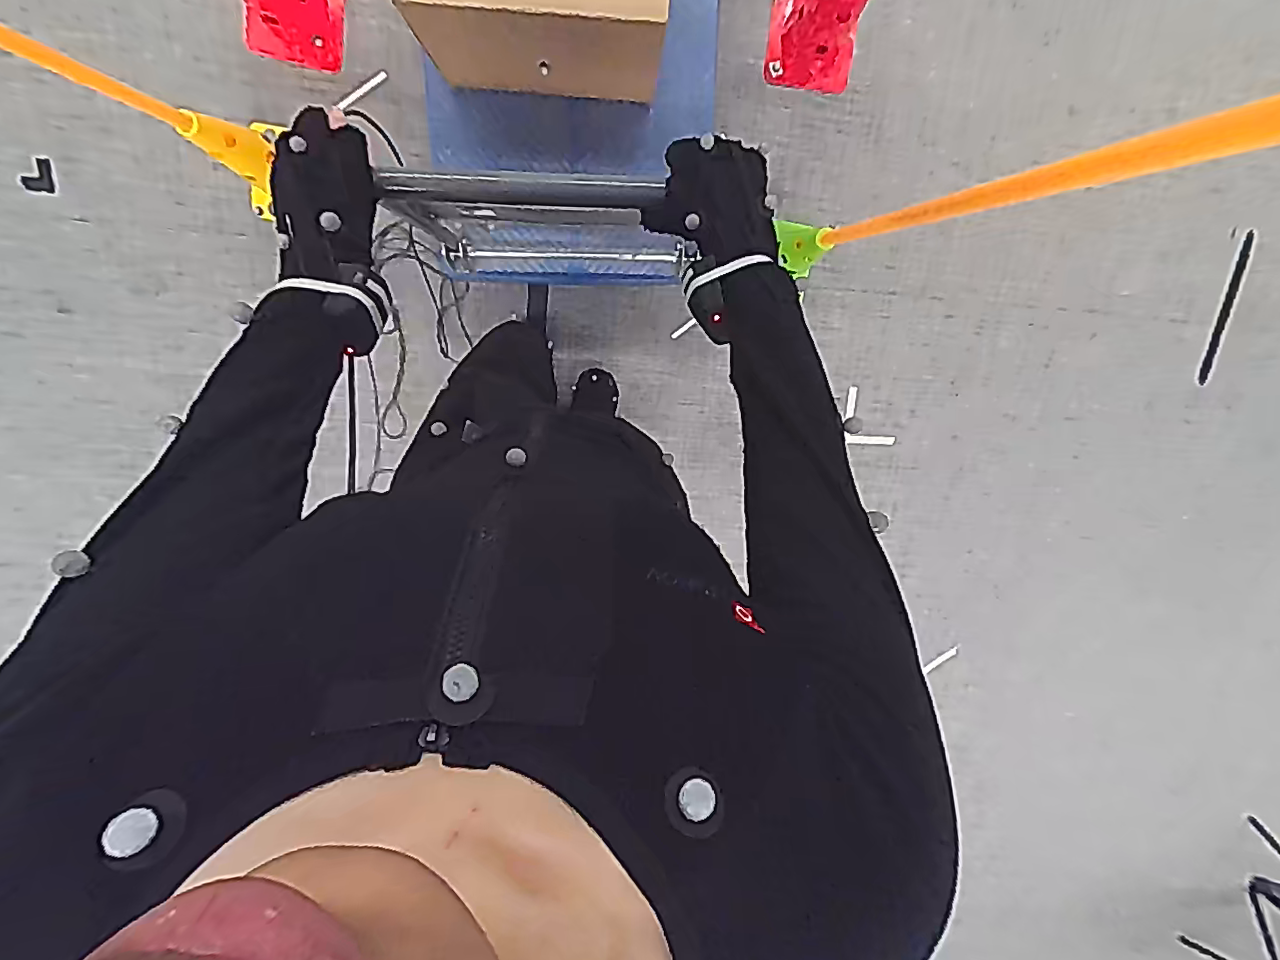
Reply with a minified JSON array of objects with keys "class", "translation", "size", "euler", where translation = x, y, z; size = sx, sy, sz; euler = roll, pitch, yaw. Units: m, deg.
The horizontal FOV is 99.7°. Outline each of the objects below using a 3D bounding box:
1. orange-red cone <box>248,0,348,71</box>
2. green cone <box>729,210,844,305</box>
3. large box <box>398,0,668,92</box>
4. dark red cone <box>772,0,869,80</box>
[{"class":"orange-red cone","translation":[-0.722,-0.969,0.997],"size":[0.198,0.360,0.199],"euler":[11,104,-7]},{"class":"green cone","translation":[0.346,-0.507,1.186],"size":[0.202,0.368,0.200],"euler":[8,105,-7]},{"class":"large box","translation":[-0.158,-0.885,0.900],"size":[0.408,0.320,0.320],"euler":[2,106,-3]},{"class":"dark red cone","translation":[0.411,-0.965,1.041],"size":[0.201,0.394,0.202],"euler":[4,106,-6]}]
